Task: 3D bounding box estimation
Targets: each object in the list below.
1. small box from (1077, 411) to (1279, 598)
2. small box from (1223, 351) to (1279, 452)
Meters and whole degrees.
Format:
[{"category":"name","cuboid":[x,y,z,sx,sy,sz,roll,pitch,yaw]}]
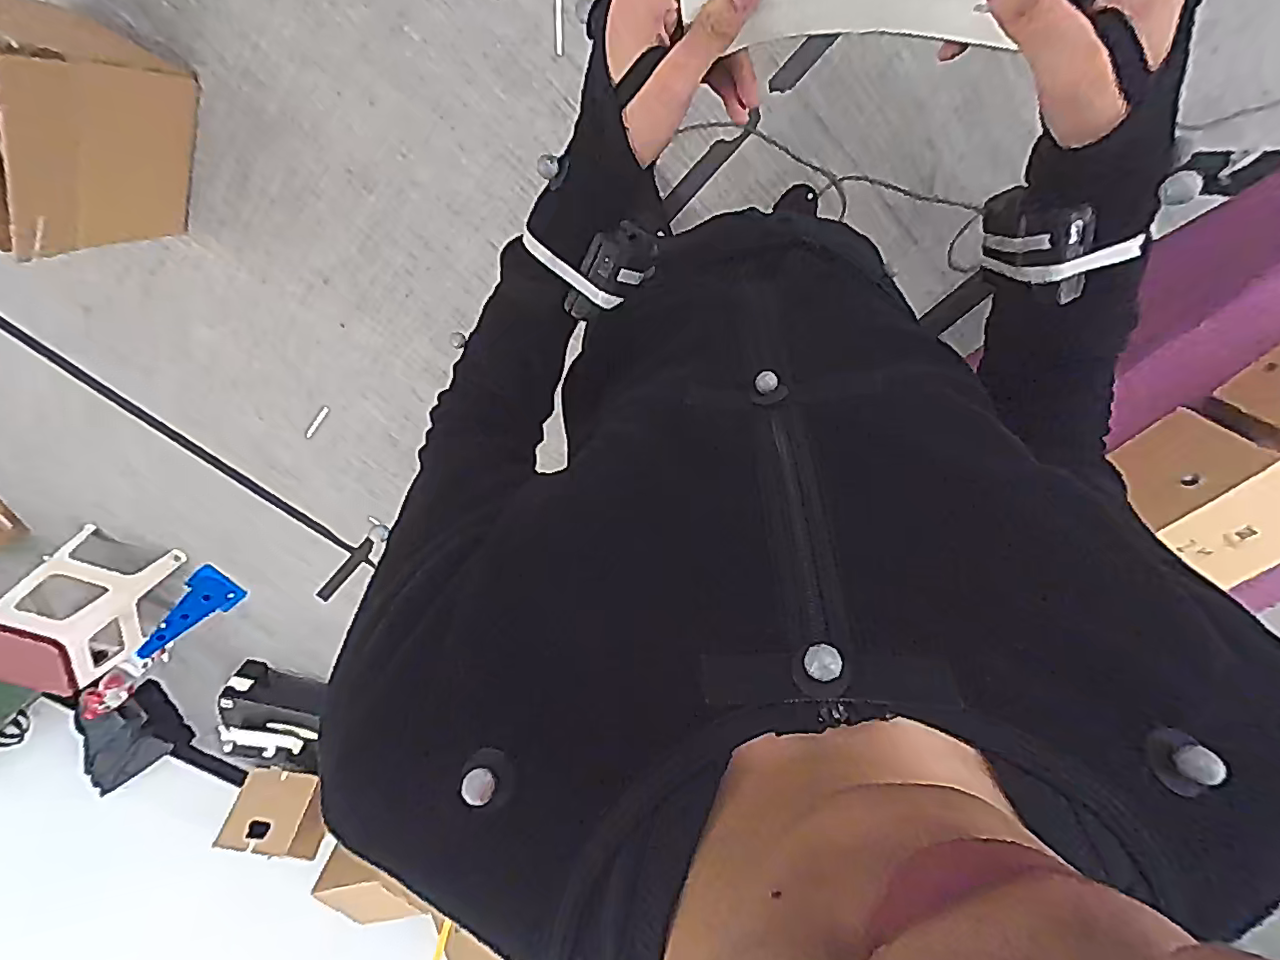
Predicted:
[{"category":"small box","cuboid":[0.807,0.030,0.787,0.168,0.176,0.179,36,118,-15]},{"category":"small box","cuboid":[0.942,-0.097,0.699,0.179,0.176,0.168,33,119,-14]}]
